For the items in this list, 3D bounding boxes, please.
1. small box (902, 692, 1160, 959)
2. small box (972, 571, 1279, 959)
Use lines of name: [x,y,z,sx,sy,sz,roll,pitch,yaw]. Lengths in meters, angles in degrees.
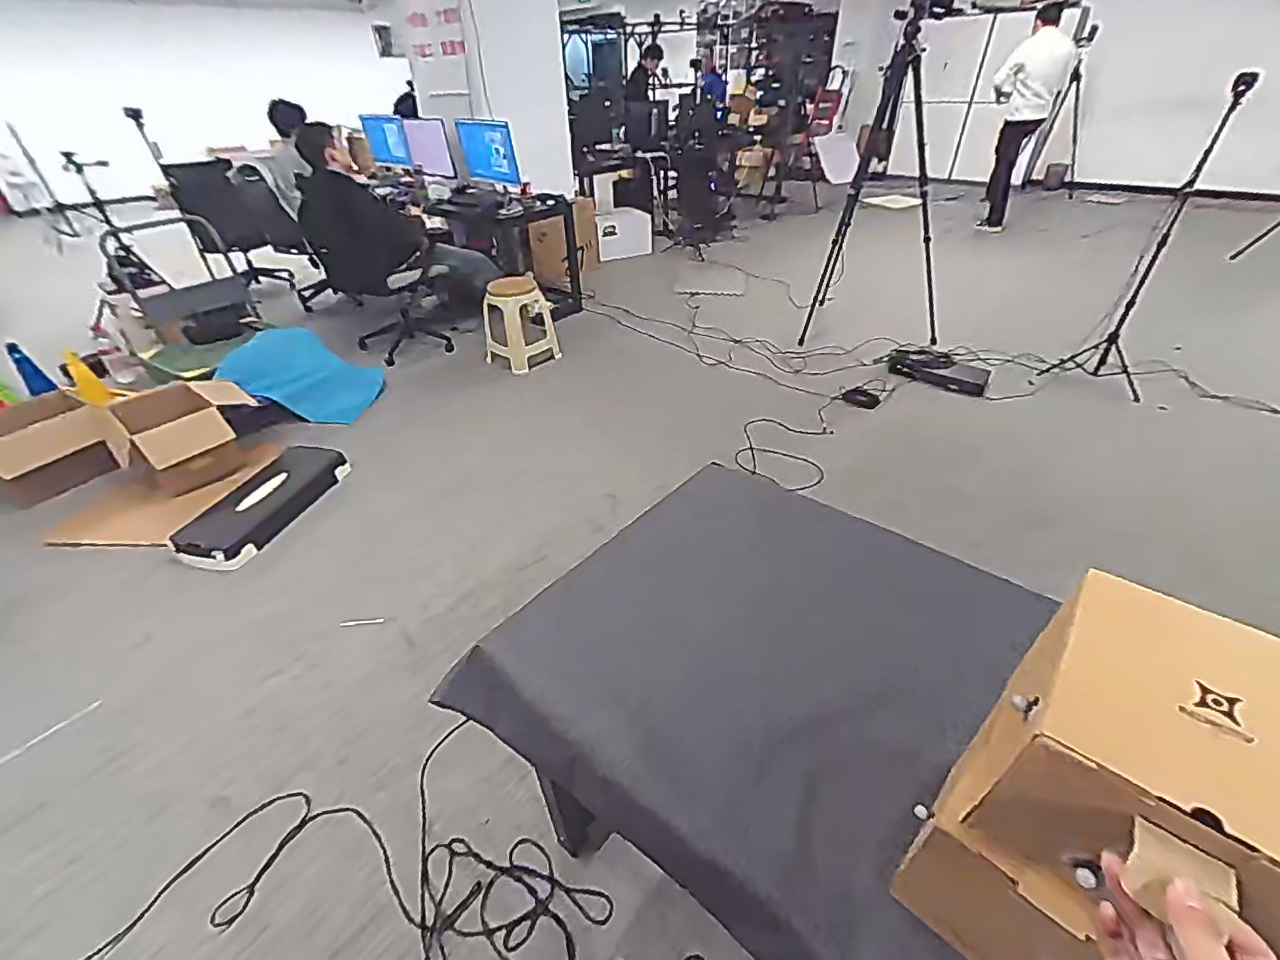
small box: [0.365,0.345,0.493,0.168,0.176,0.179,30,47,35]
small box: [0.375,0.208,0.396,0.168,0.176,0.179,26,49,32]
